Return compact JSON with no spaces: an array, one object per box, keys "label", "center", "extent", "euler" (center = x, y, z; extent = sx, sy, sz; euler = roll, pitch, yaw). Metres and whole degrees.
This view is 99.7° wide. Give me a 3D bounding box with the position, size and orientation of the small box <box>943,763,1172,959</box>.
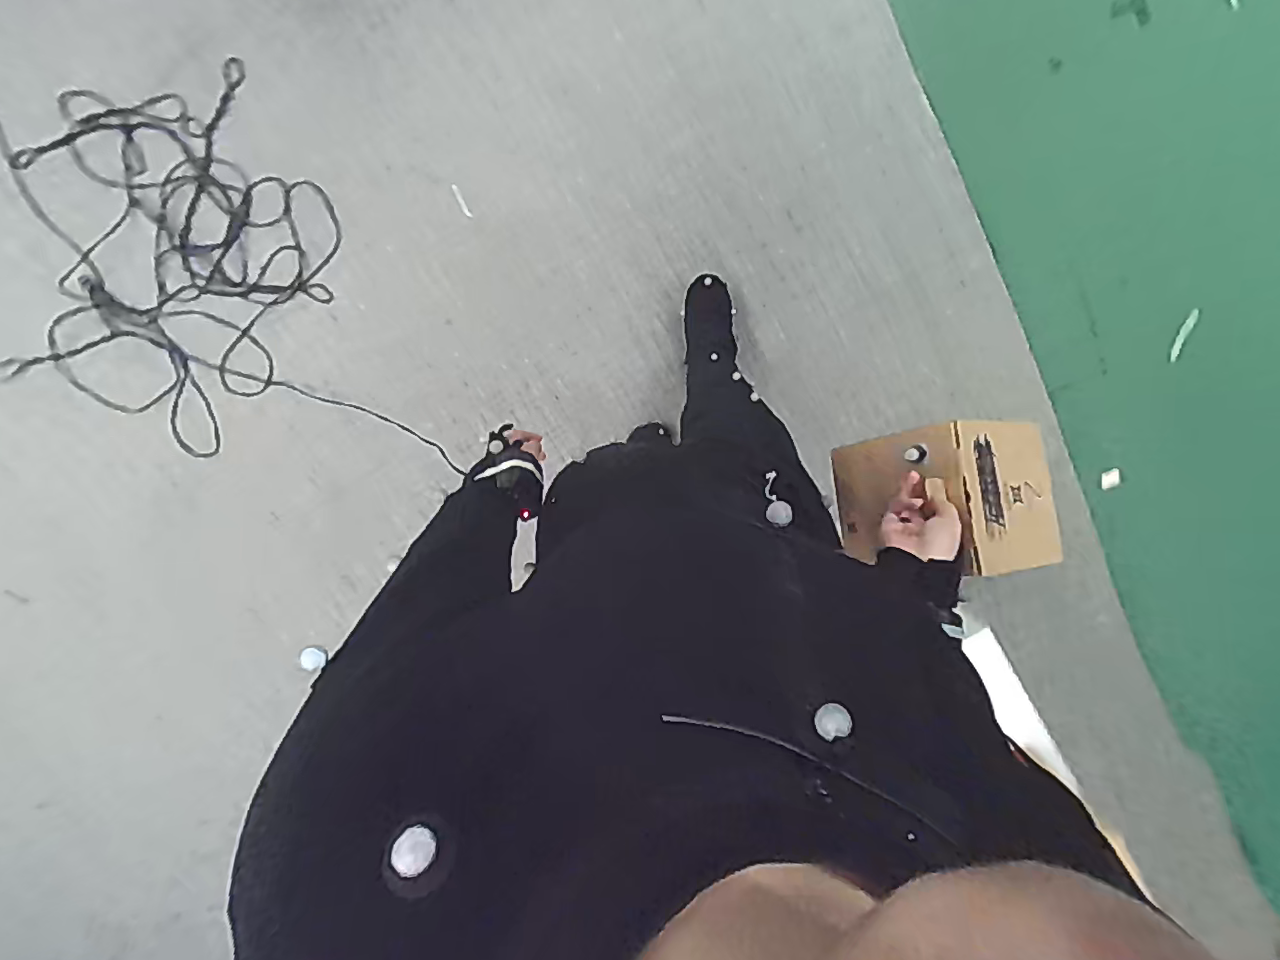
[{"label":"small box","center":[0.581,0.555,0.775],"extent":[0.168,0.176,0.179],"euler":[-30,100,6]}]
